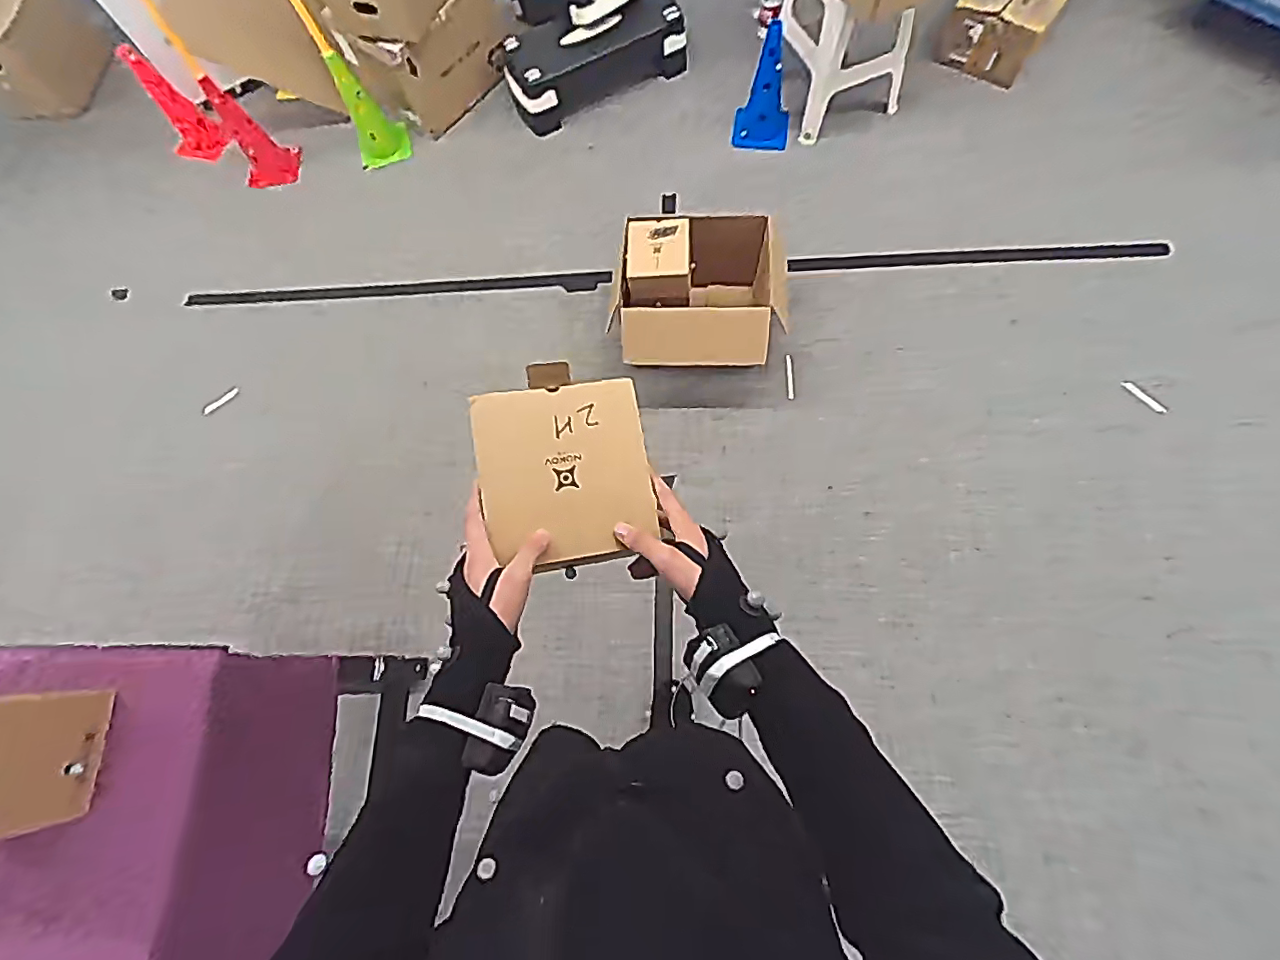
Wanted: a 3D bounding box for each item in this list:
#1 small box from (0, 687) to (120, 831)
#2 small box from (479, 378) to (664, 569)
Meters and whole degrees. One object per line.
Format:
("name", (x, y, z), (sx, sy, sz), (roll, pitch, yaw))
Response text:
("small box", (-0.861, 0.367, 0.710), (0.179, 0.176, 0.168), (-4, 73, 4))
("small box", (-0.080, 0.003, 0.611), (0.168, 0.176, 0.179), (-8, 80, -12))
